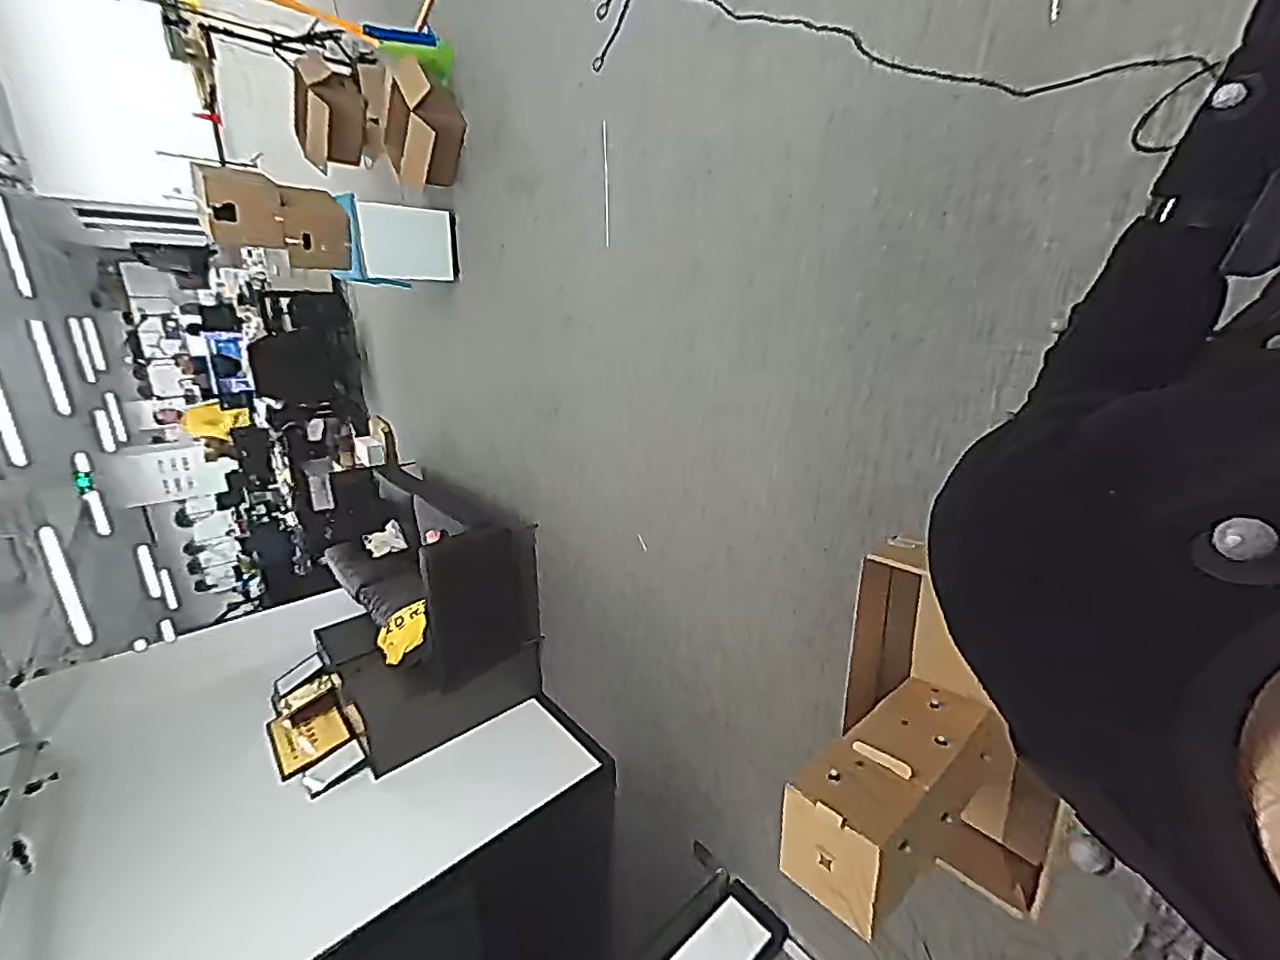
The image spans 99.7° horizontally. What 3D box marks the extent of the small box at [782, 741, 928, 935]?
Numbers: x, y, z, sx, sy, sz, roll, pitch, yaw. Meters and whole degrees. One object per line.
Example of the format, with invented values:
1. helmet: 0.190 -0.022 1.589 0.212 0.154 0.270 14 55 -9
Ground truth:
1. small box: 0.362 0.581 0.908 0.168 0.176 0.179 15 109 48

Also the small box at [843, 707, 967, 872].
1. small box: 0.489 0.558 1.008 0.168 0.176 0.179 10 107 48
